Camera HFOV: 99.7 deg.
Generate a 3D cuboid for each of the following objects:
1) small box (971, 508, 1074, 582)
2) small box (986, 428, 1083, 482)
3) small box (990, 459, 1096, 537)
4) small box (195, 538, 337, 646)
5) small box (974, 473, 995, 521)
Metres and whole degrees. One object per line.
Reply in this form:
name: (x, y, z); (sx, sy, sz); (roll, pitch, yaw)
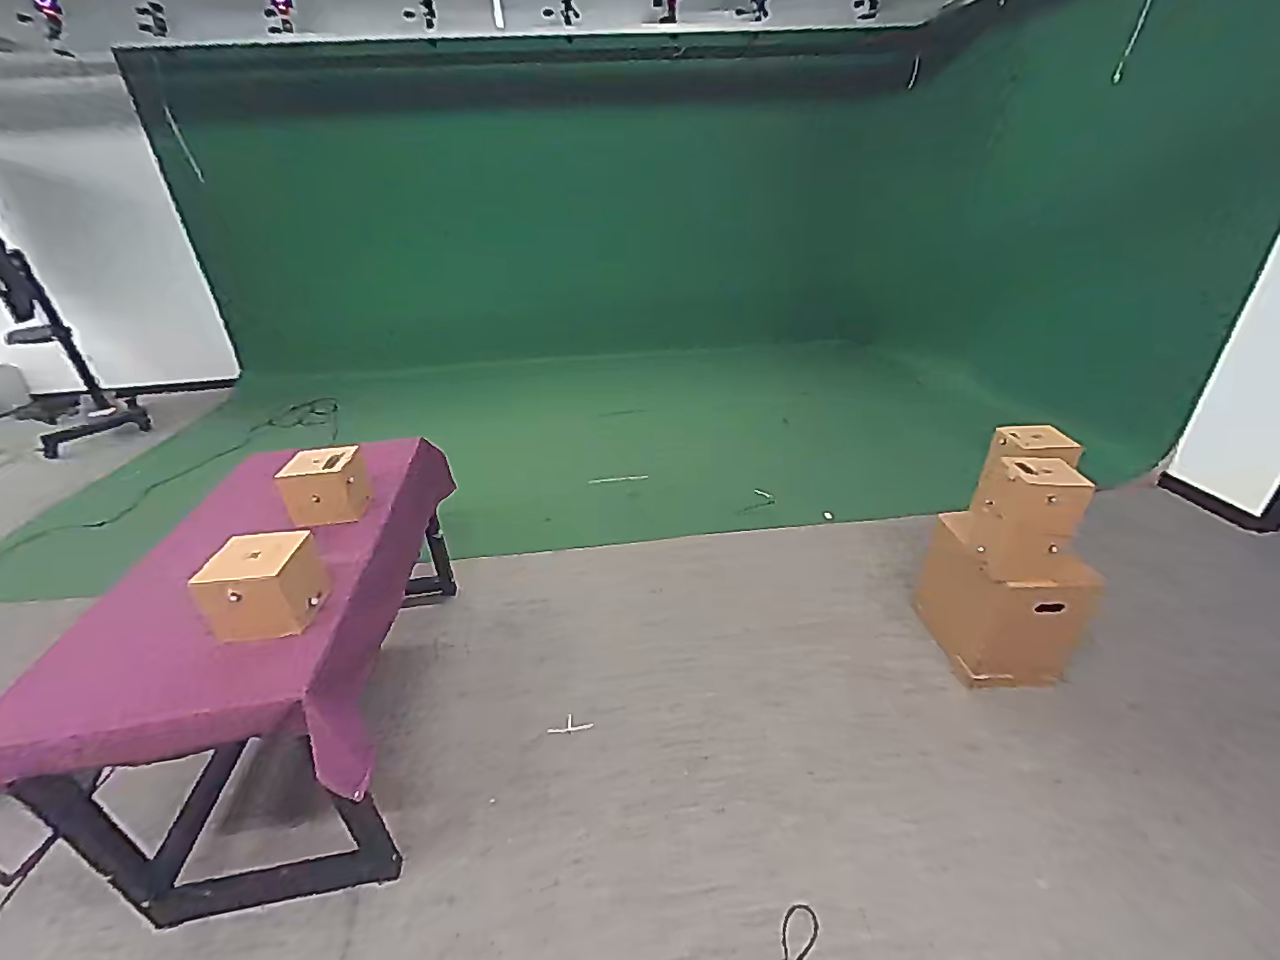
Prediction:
small box: (1.151, 0.198, 1.641); (0.179, 0.176, 0.168); (-1, 28, 2)
small box: (1.268, -0.058, 1.752); (0.179, 0.176, 0.168); (-1, 29, 3)
small box: (1.148, 0.052, 1.563); (0.179, 0.176, 0.168); (2, 29, 4)
small box: (-0.816, 0.248, 1.200); (0.179, 0.176, 0.168); (-4, 29, -2)
small box: (1.279, 0.083, 1.835); (0.168, 0.176, 0.179); (-3, 29, 0)
